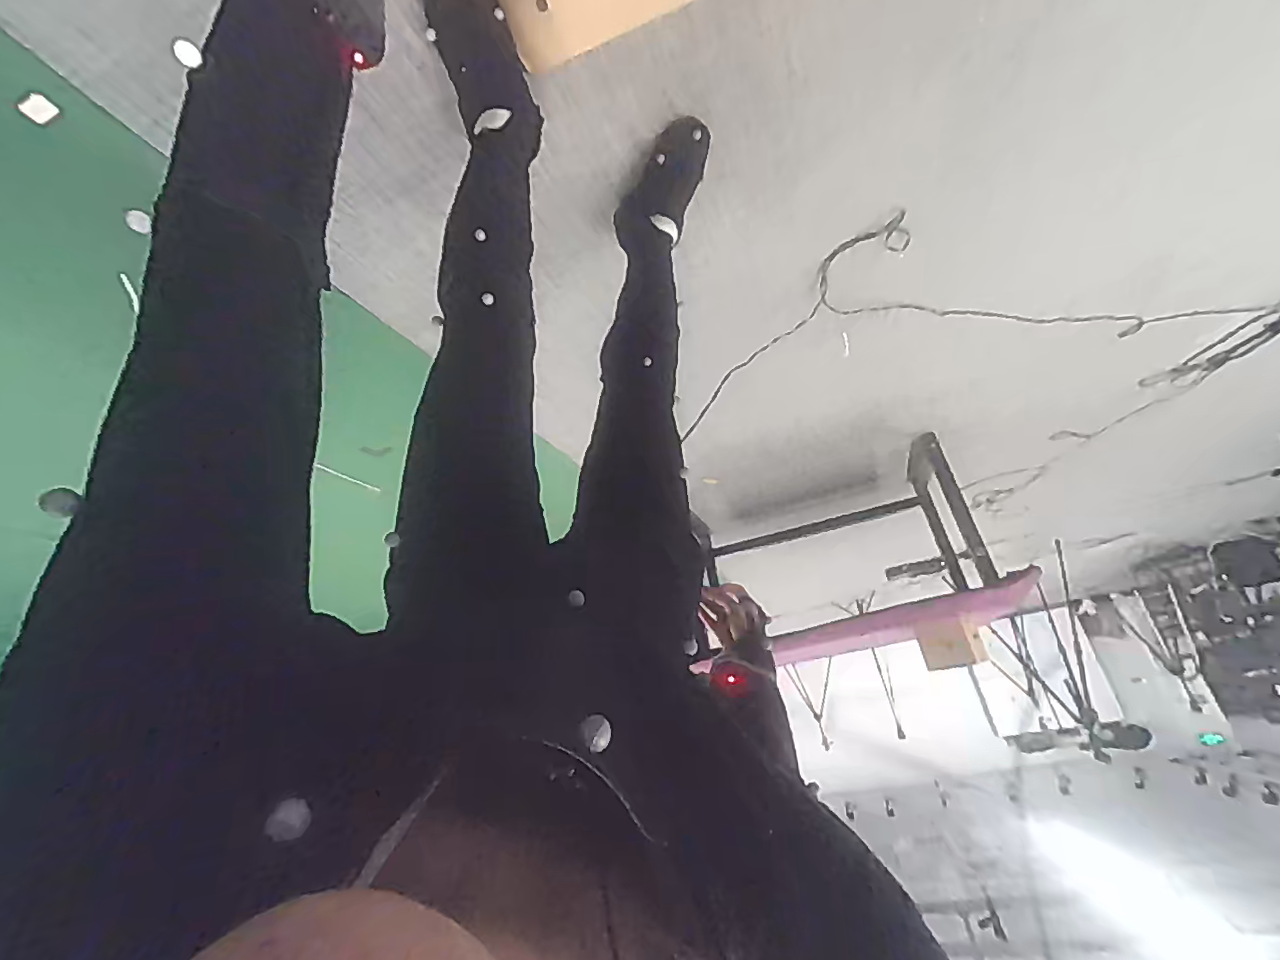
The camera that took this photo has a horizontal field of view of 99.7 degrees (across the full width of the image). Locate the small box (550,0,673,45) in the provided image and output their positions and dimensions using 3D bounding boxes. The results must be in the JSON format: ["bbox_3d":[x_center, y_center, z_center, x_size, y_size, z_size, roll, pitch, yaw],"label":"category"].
[{"bbox_3d":[-0.049,-0.658,0.608,0.168,0.176,0.179,-16,154,11],"label":"small box"}]

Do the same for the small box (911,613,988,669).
[{"bbox_3d":[1.157,0.601,2.025,0.168,0.176,0.179,15,145,-43],"label":"small box"}]
